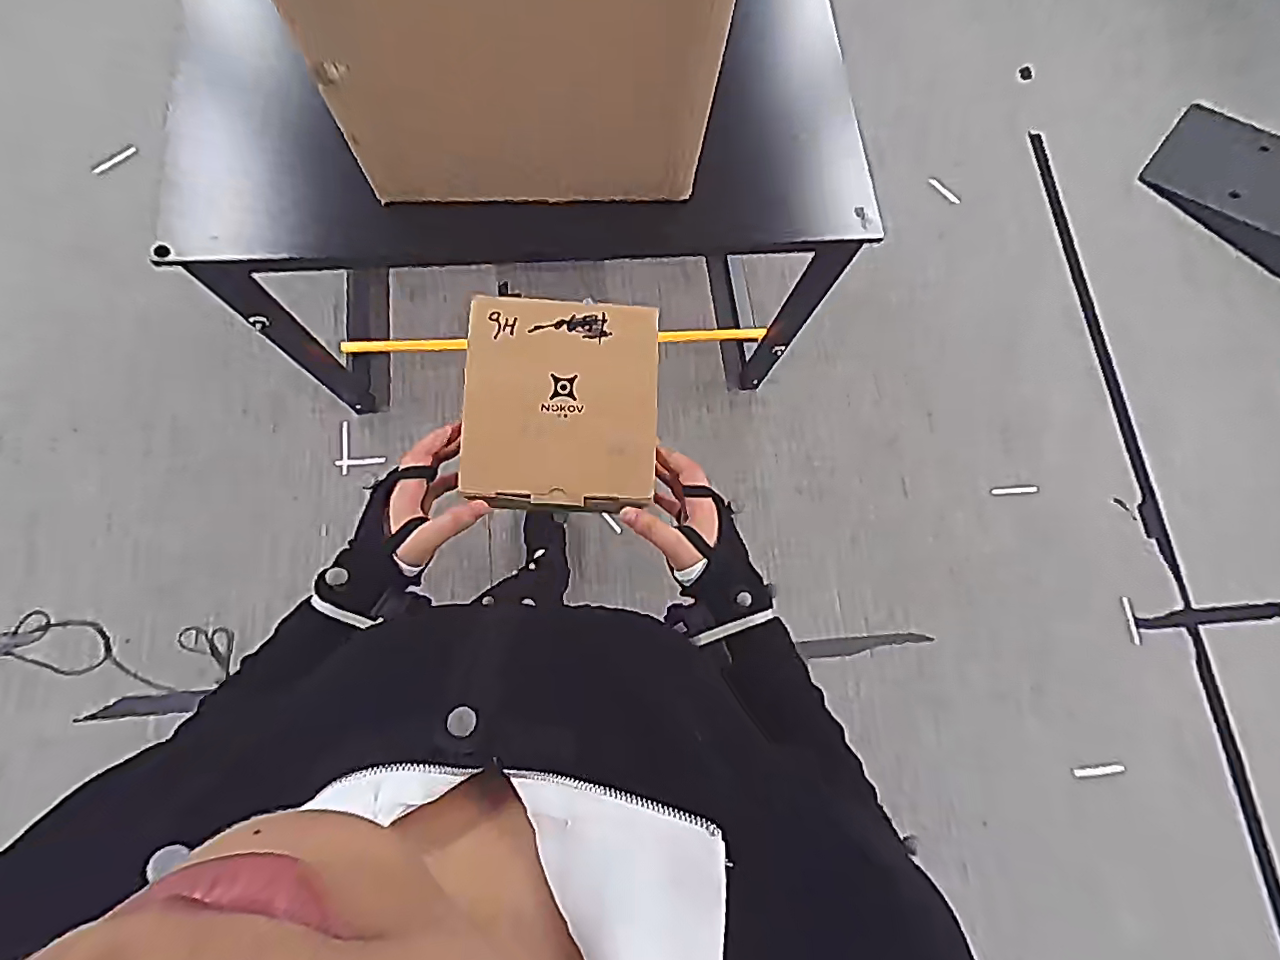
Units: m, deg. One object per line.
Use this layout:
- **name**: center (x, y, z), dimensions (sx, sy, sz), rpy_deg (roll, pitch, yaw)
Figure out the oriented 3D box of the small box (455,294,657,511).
- **small box**: center (-0.076, -0.062, 0.541), dimensions (0.168, 0.176, 0.179), rpy_deg (3, 82, -5)
